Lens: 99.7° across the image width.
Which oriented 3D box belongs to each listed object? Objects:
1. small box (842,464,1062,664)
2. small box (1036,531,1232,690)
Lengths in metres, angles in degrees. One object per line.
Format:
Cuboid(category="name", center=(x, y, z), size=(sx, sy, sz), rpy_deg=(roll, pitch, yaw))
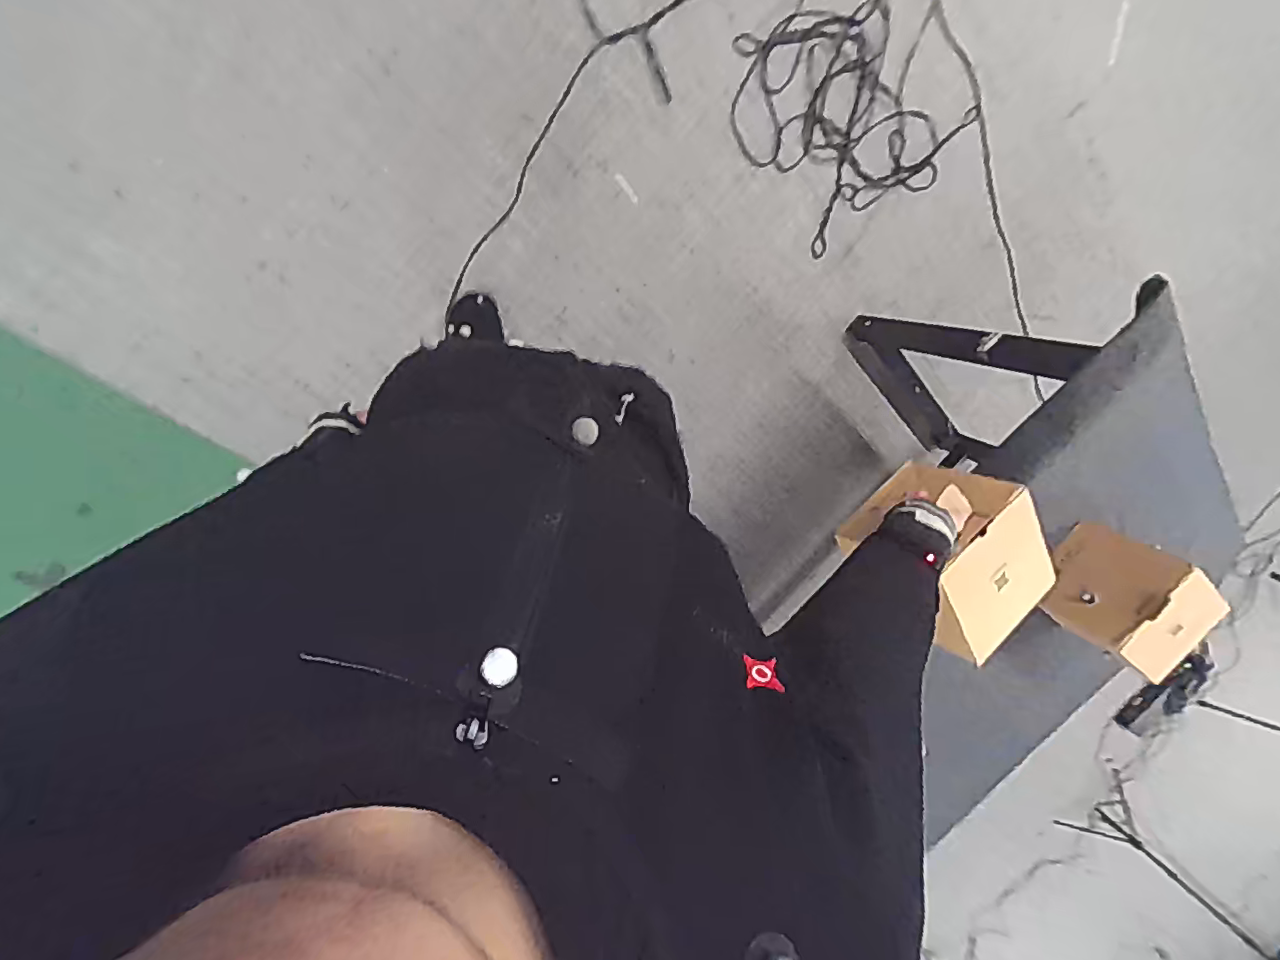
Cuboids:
Cuboid(category="small box", center=(0.410, 0.100, 0.723), size=(0.168, 0.176, 0.179), rpy_deg=(-42, 116, -10))
Cuboid(category="small box", center=(0.796, 0.206, 0.893), size=(0.179, 0.176, 0.168), rpy_deg=(31, 100, -28))
